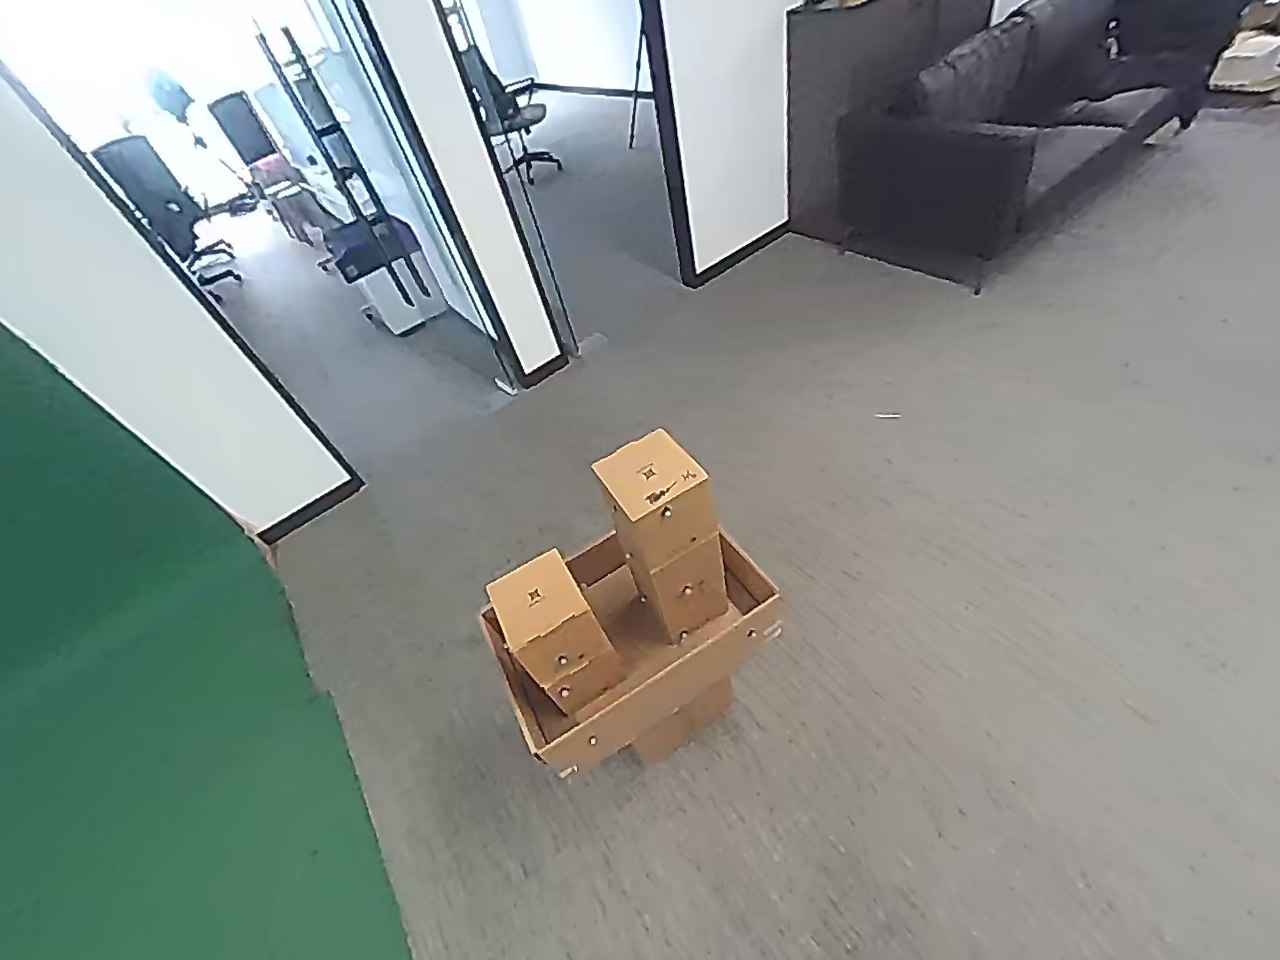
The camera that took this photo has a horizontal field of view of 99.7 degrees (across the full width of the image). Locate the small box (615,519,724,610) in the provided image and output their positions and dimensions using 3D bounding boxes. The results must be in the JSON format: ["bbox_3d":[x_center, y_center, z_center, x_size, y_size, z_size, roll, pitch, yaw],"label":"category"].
[{"bbox_3d":[0.068,0.151,1.187,0.168,0.176,0.179,-29,48,-11],"label":"small box"}]

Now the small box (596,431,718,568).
[{"bbox_3d":[0.037,0.040,1.070,0.168,0.176,0.179,-29,47,-11],"label":"small box"}]

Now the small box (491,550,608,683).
[{"bbox_3d":[-0.187,0.287,1.130,0.168,0.176,0.179,-28,47,-11],"label":"small box"}]
